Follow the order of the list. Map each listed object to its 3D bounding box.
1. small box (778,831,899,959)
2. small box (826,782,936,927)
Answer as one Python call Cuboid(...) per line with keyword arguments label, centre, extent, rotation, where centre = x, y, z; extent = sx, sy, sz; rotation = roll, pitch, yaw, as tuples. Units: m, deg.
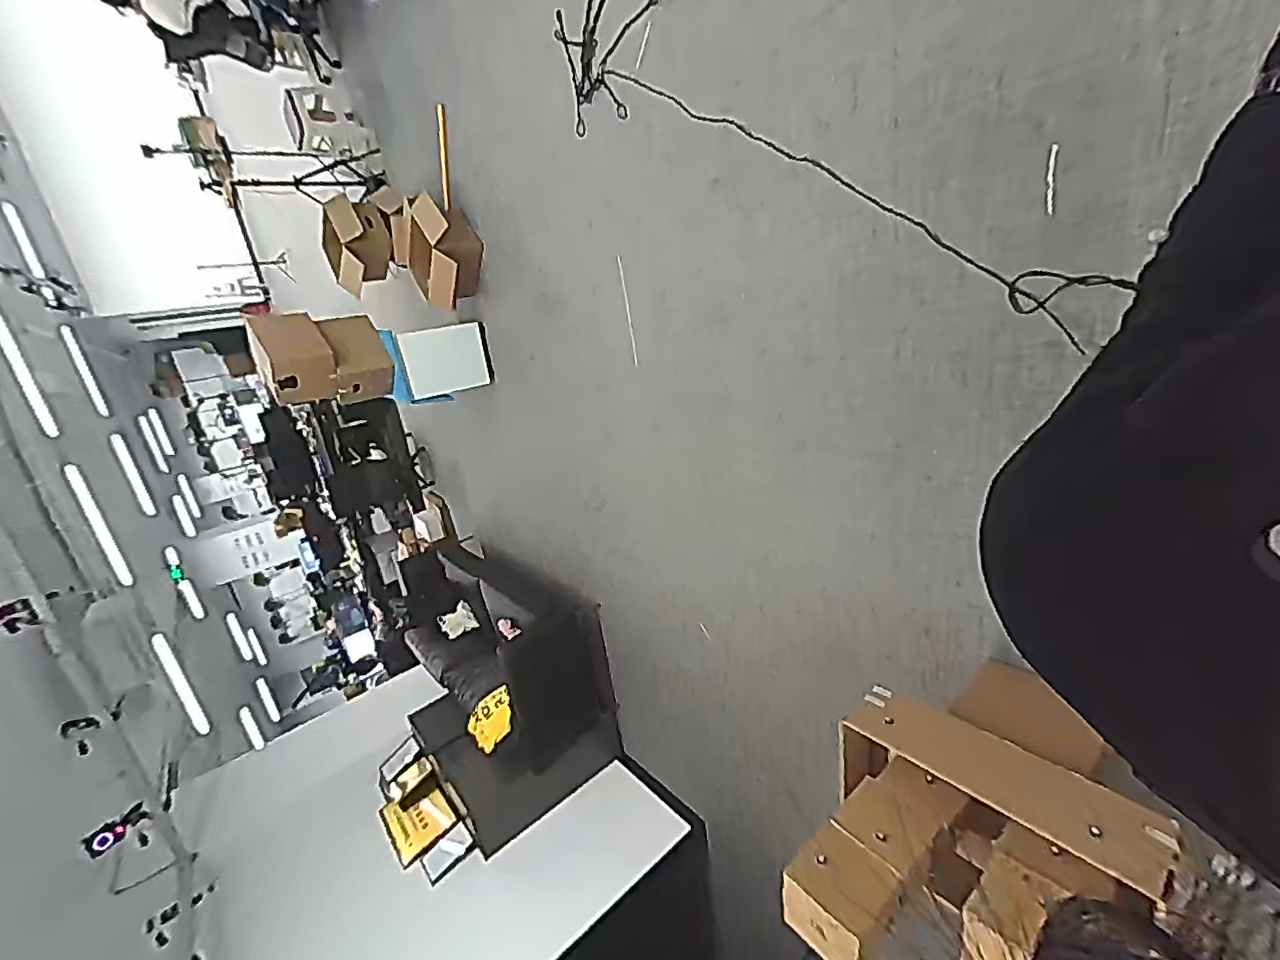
Cuboid(label="small box", centre=(0.416, 0.892, 1.145), extent=(0.179, 0.176, 0.168), rotation=(20, 123, 48))
Cuboid(label="small box", centre=(0.545, 0.837, 1.229), extent=(0.179, 0.176, 0.168), rotation=(21, 123, 49))
